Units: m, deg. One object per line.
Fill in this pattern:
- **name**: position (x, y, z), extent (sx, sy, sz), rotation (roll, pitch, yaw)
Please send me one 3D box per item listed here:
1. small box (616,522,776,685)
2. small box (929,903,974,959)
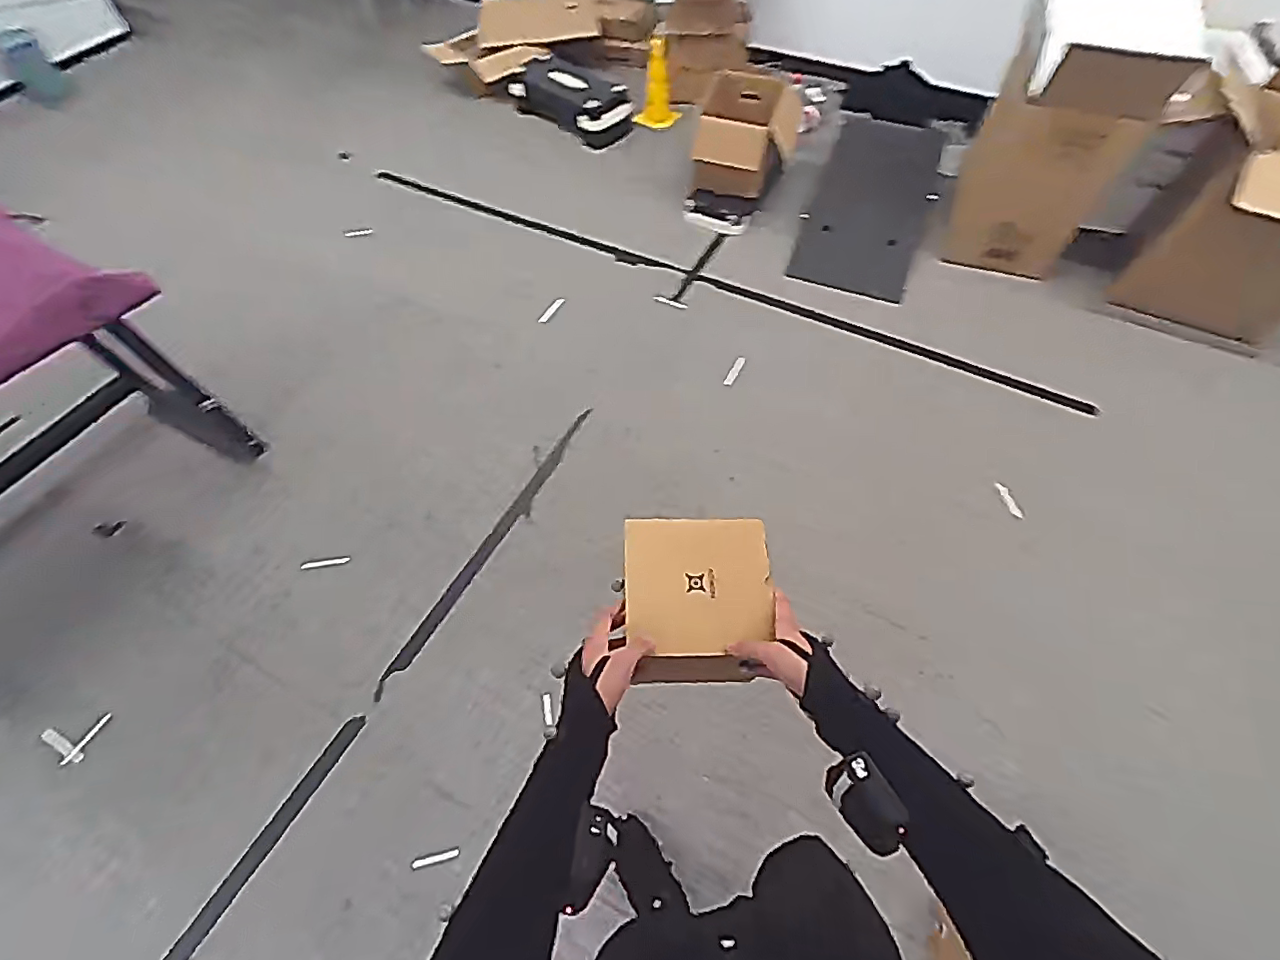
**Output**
- **small box**: position (0.057, 0.163, 0.693), extent (0.179, 0.176, 0.168), rotation (0, 60, -5)
- **small box**: position (0.734, 1.019, 1.126), extent (0.179, 0.176, 0.168), rotation (19, 61, 12)
